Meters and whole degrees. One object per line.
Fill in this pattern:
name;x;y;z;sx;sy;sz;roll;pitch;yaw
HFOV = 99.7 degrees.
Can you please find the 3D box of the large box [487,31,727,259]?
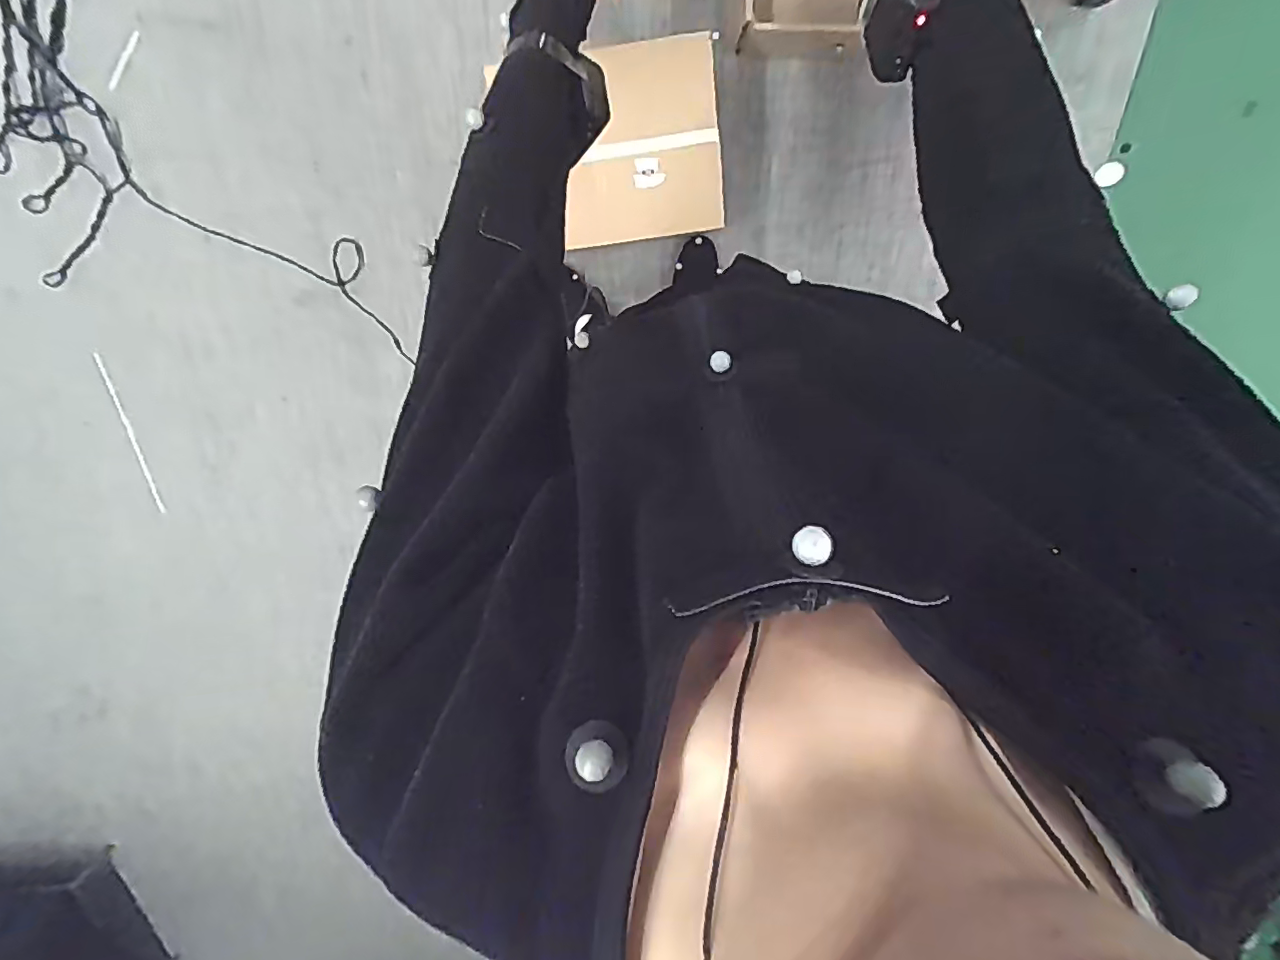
large box;-0.054;-0.654;1.123;0.408;0.320;0.320;-7;113;2
